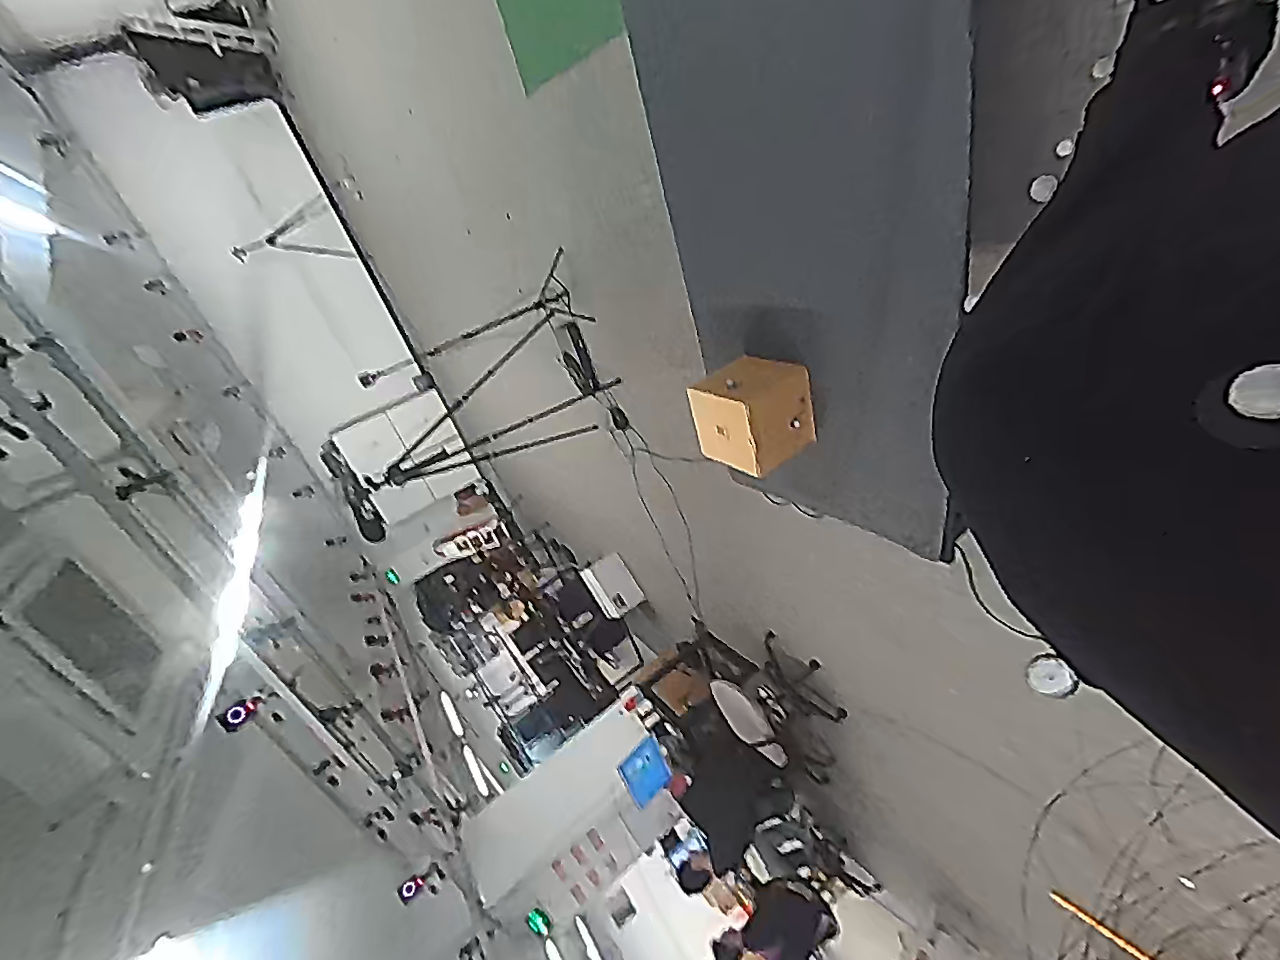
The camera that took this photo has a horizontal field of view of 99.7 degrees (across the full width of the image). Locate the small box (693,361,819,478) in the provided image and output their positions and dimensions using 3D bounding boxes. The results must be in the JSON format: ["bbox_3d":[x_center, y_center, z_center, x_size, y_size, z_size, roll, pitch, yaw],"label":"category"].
[{"bbox_3d":[0.241,-0.133,1.116,0.179,0.176,0.168,28,143,51],"label":"small box"}]
